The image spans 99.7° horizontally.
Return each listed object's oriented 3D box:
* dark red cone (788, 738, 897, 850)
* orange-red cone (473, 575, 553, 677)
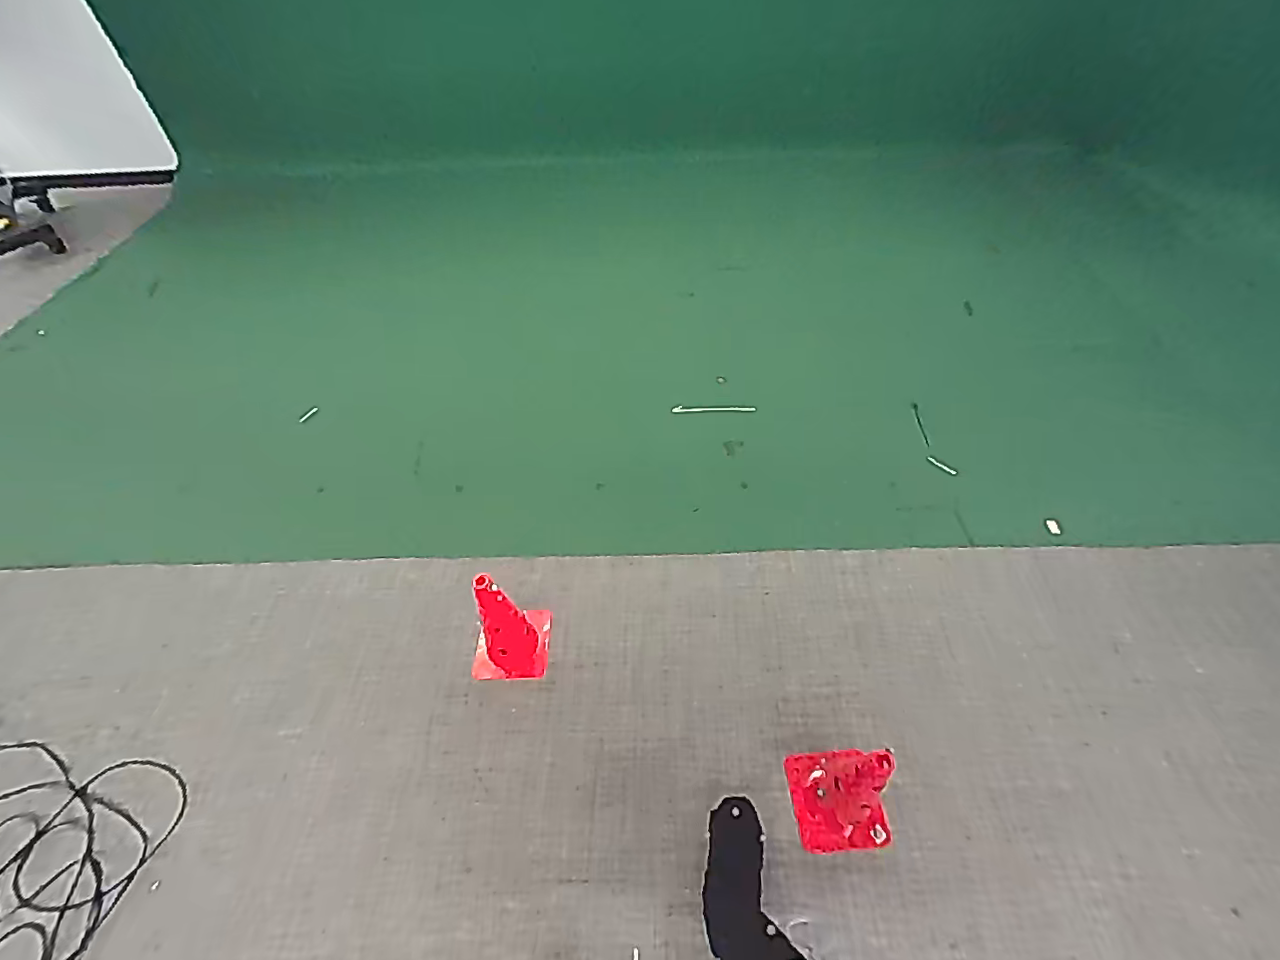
[{"bbox_3d":[0.448,0.605,1.103,0.202,0.394,0.201,-6,49,-2],"label":"dark red cone"},{"bbox_3d":[-0.359,0.348,1.388,0.198,0.360,0.199,-2,51,2],"label":"orange-red cone"}]
